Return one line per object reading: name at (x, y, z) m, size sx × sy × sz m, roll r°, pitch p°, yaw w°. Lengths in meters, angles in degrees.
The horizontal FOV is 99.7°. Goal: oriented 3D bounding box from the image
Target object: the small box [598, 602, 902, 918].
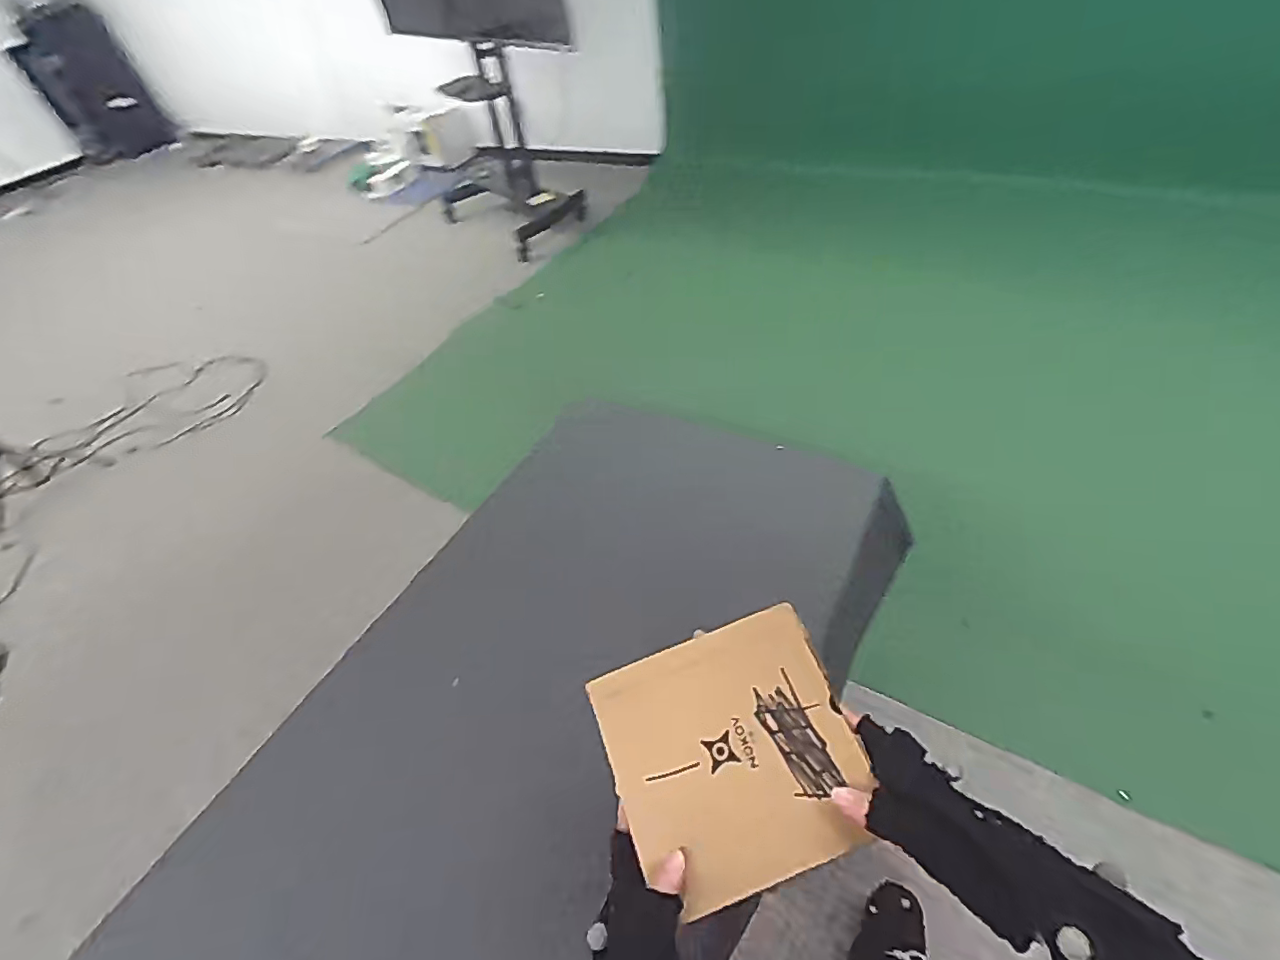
small box at (0.079, 0.227, 0.463) m, size 0.179 × 0.176 × 0.168 m, roll -19°, pitch 62°, yaw -3°
